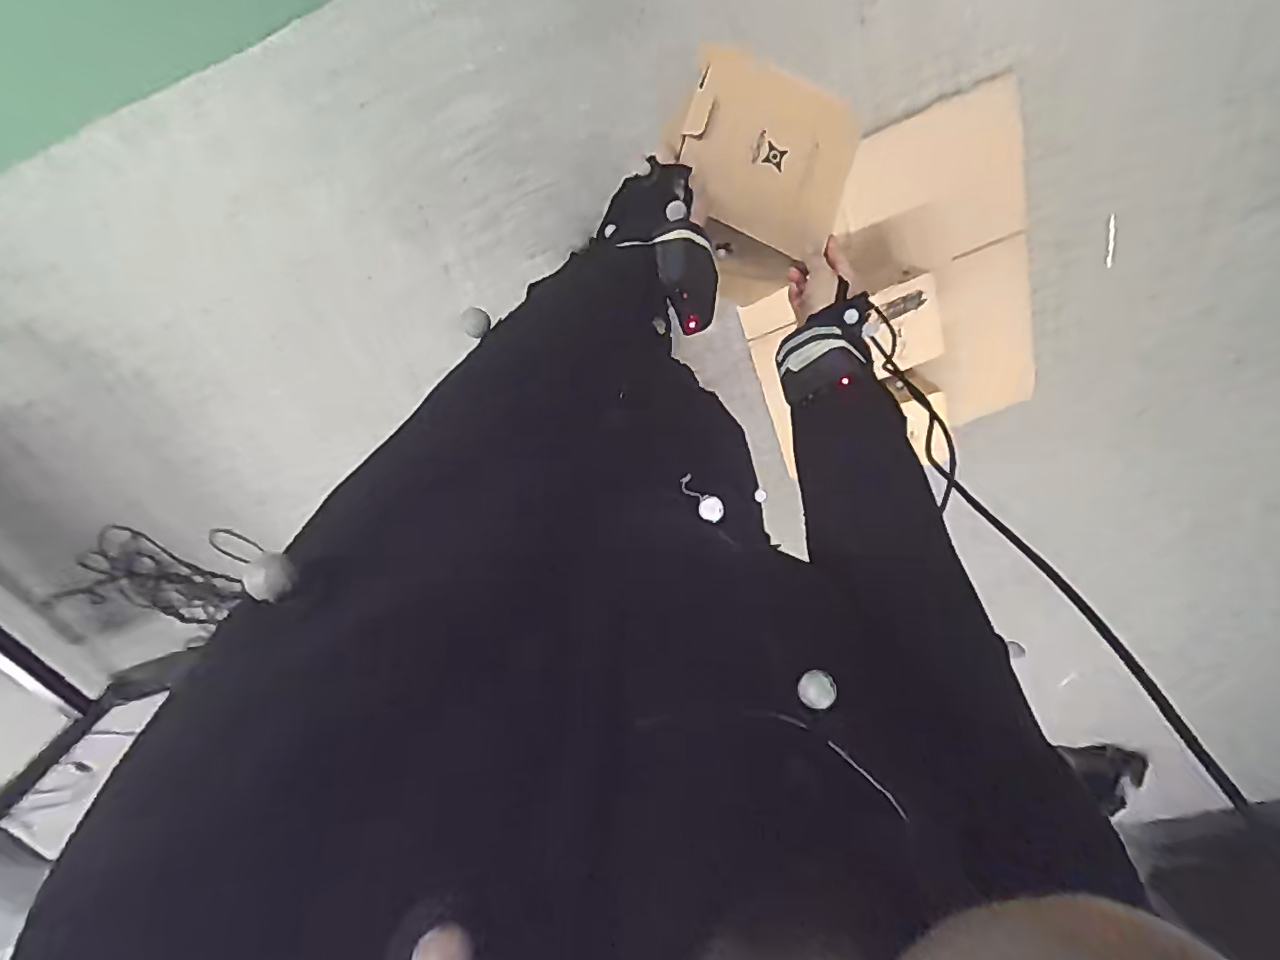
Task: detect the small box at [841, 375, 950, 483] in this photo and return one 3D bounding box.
[{"bbox_3d":[0.579,-0.126,1.240,0.168,0.176,0.179,-18,117,9],"label":"small box"}]

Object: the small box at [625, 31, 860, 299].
[{"bbox_3d":[0.099,-0.321,0.598,0.179,0.176,0.168,18,90,-17],"label":"small box"}]
